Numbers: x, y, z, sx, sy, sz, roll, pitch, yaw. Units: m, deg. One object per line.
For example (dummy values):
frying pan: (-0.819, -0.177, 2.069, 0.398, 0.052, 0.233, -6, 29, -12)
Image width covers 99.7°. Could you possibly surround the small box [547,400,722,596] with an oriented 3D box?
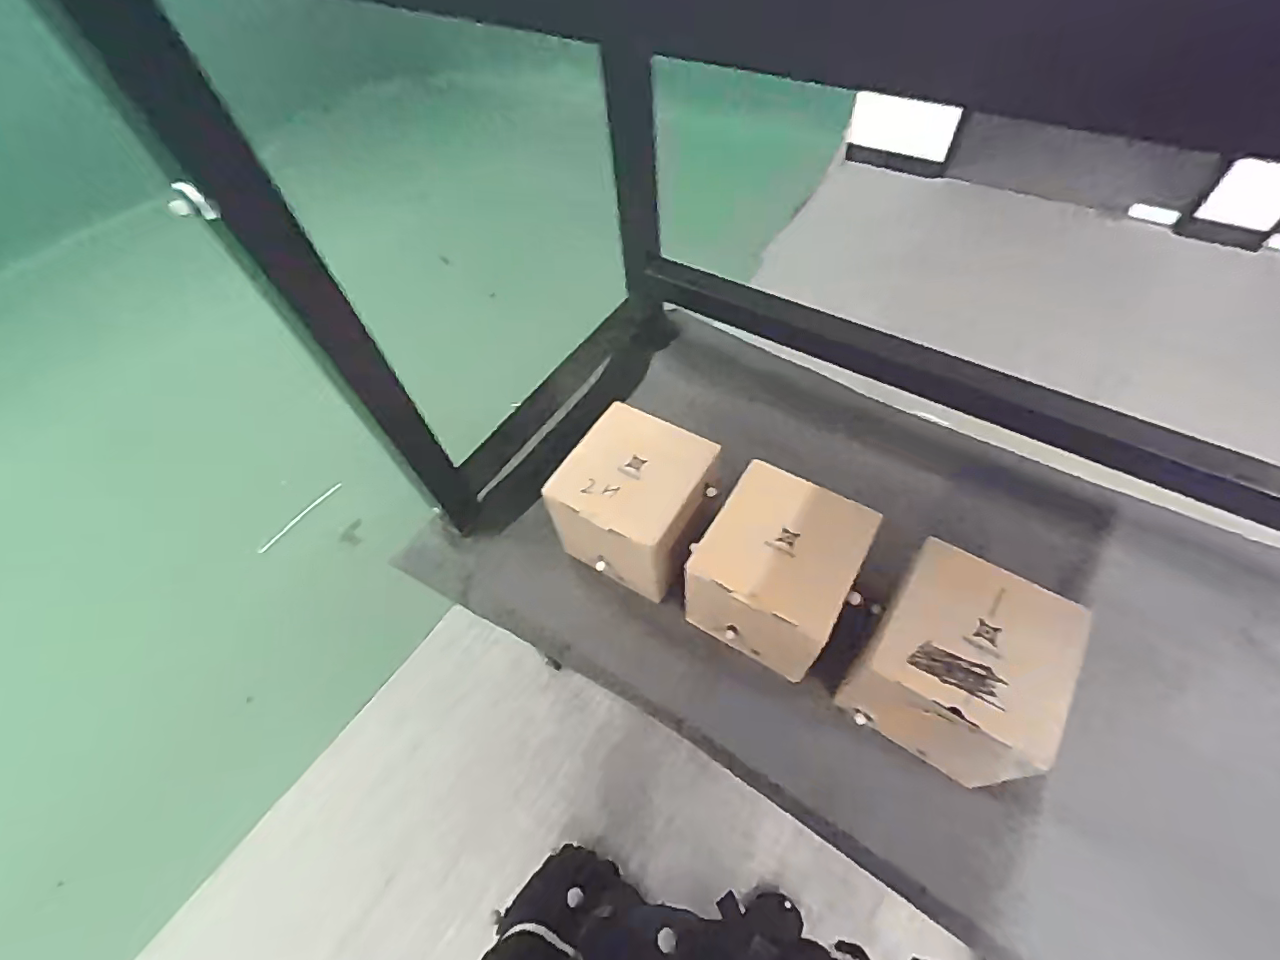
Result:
small box: (-0.002, 0.028, 0.754, 0.168, 0.176, 0.179, 26, 62, 21)
